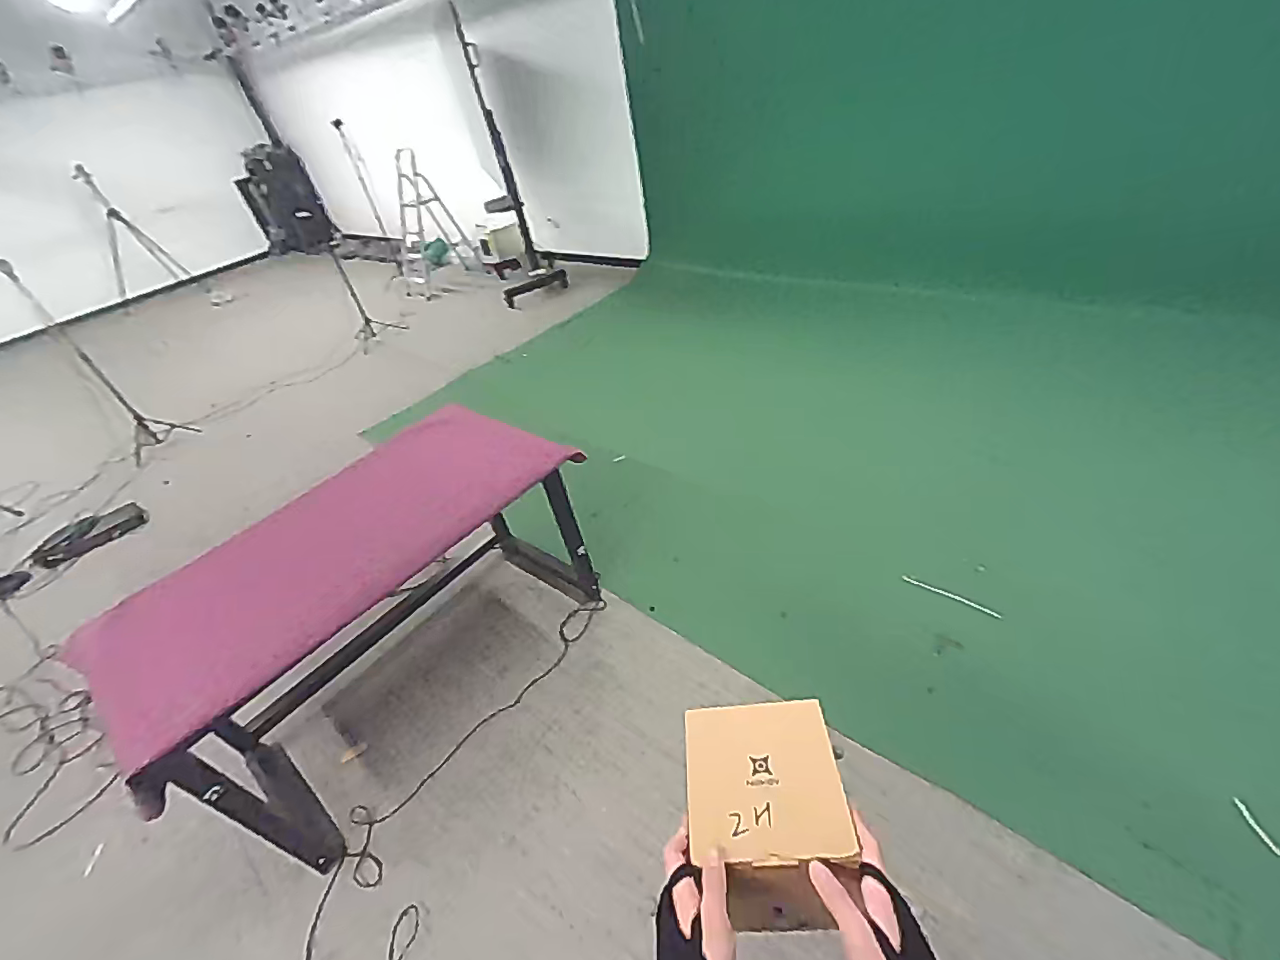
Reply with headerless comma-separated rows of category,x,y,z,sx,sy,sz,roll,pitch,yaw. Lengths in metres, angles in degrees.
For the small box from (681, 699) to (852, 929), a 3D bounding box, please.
small box,0.140,0.389,0.637,0.168,0.176,0.179,-8,32,8
